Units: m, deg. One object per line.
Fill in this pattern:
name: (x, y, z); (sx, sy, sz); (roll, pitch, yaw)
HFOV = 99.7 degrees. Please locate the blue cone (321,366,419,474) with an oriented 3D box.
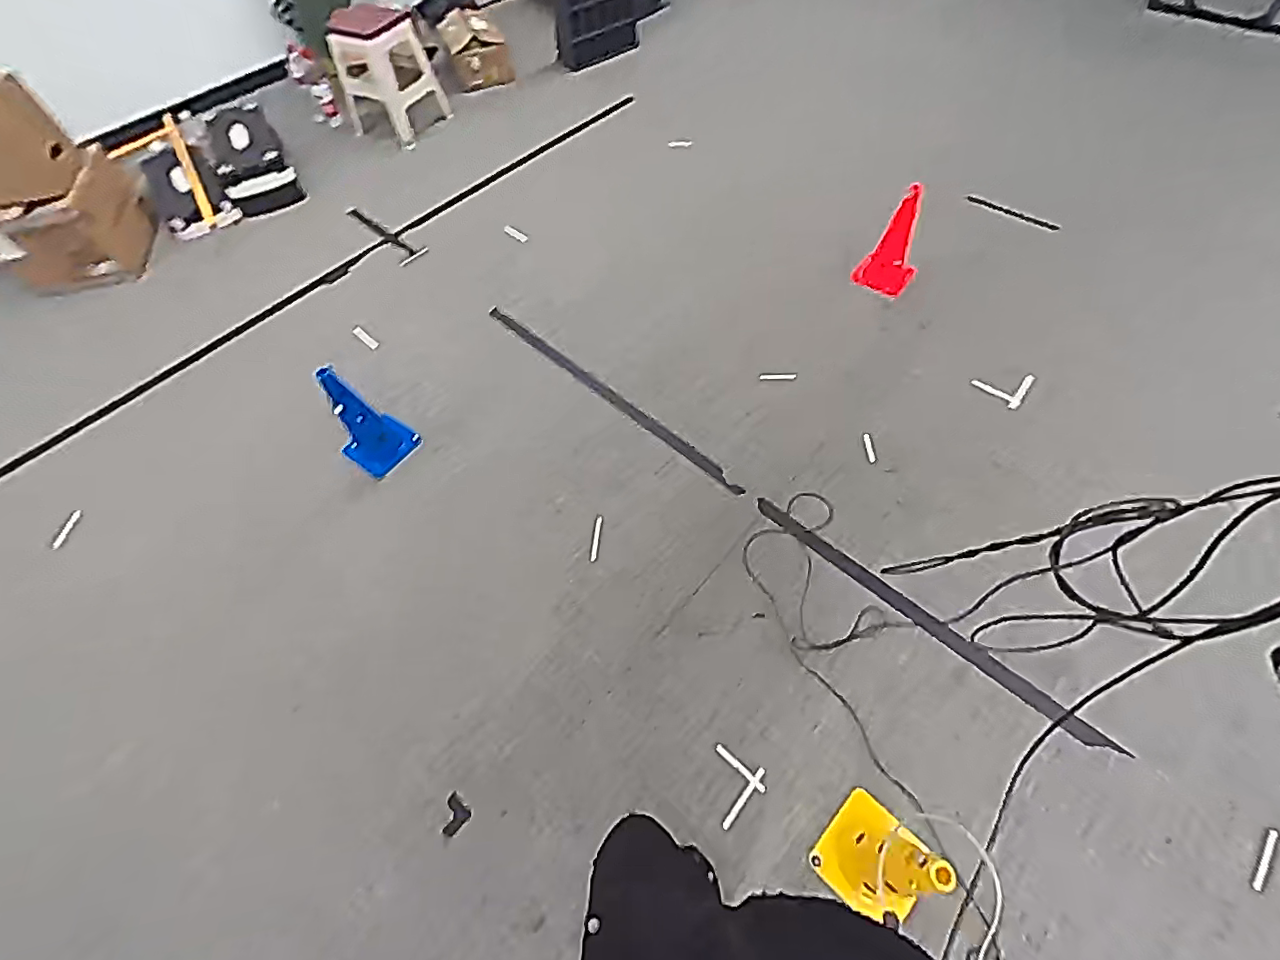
blue cone: (-0.868, -0.200, 1.661); (0.193, 0.380, 0.192); (32, 65, 21)

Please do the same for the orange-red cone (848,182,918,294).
orange-red cone: (0.931, -0.904, 1.978); (0.199, 0.360, 0.198); (32, 65, 22)
